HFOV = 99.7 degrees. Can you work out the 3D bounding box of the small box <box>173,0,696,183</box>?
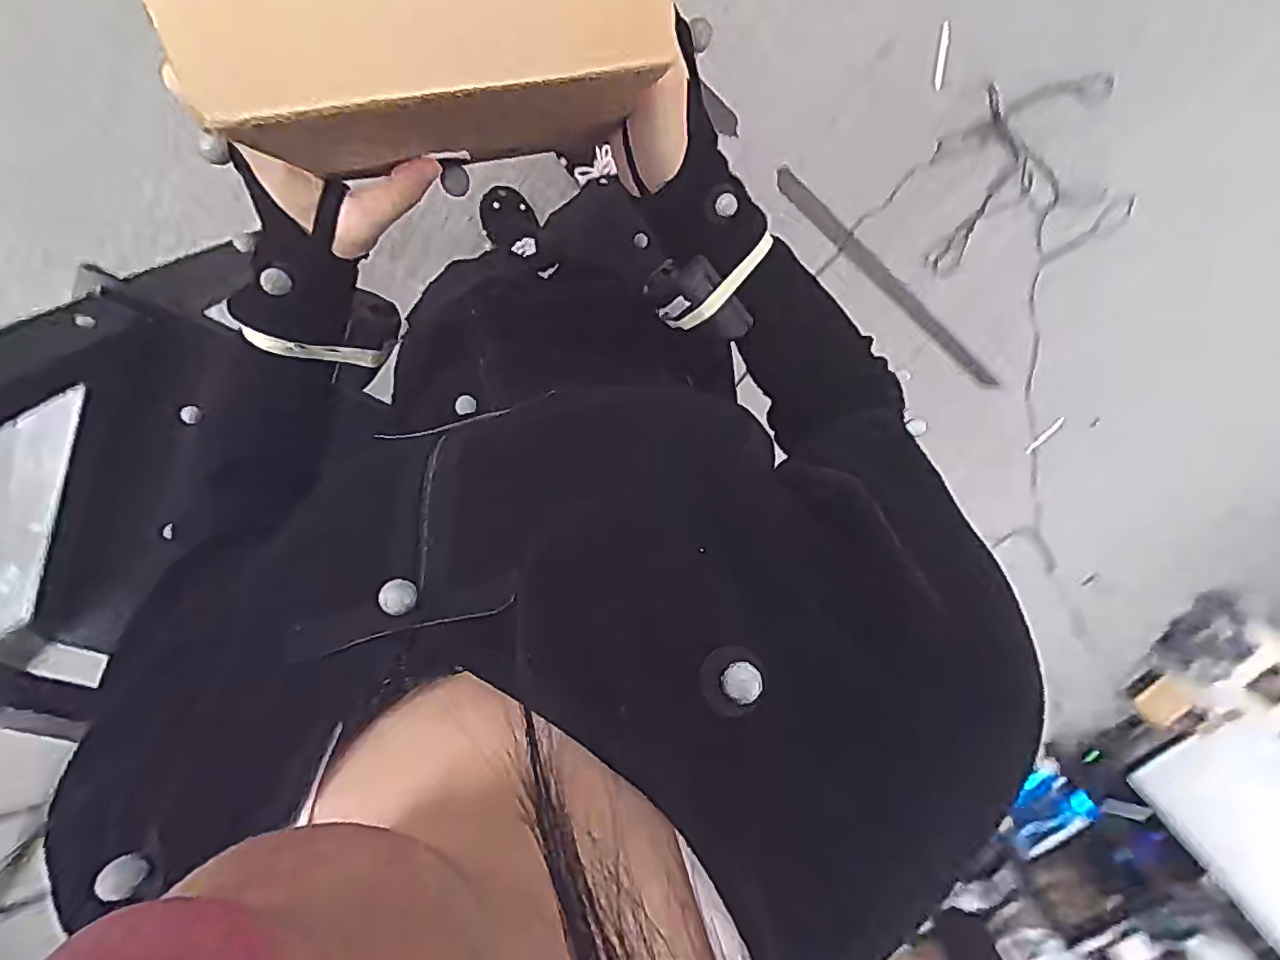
[{"bbox_3d":[-0.088,-0.240,0.225,0.168,0.176,0.179,-13,115,-7],"label":"small box"}]
